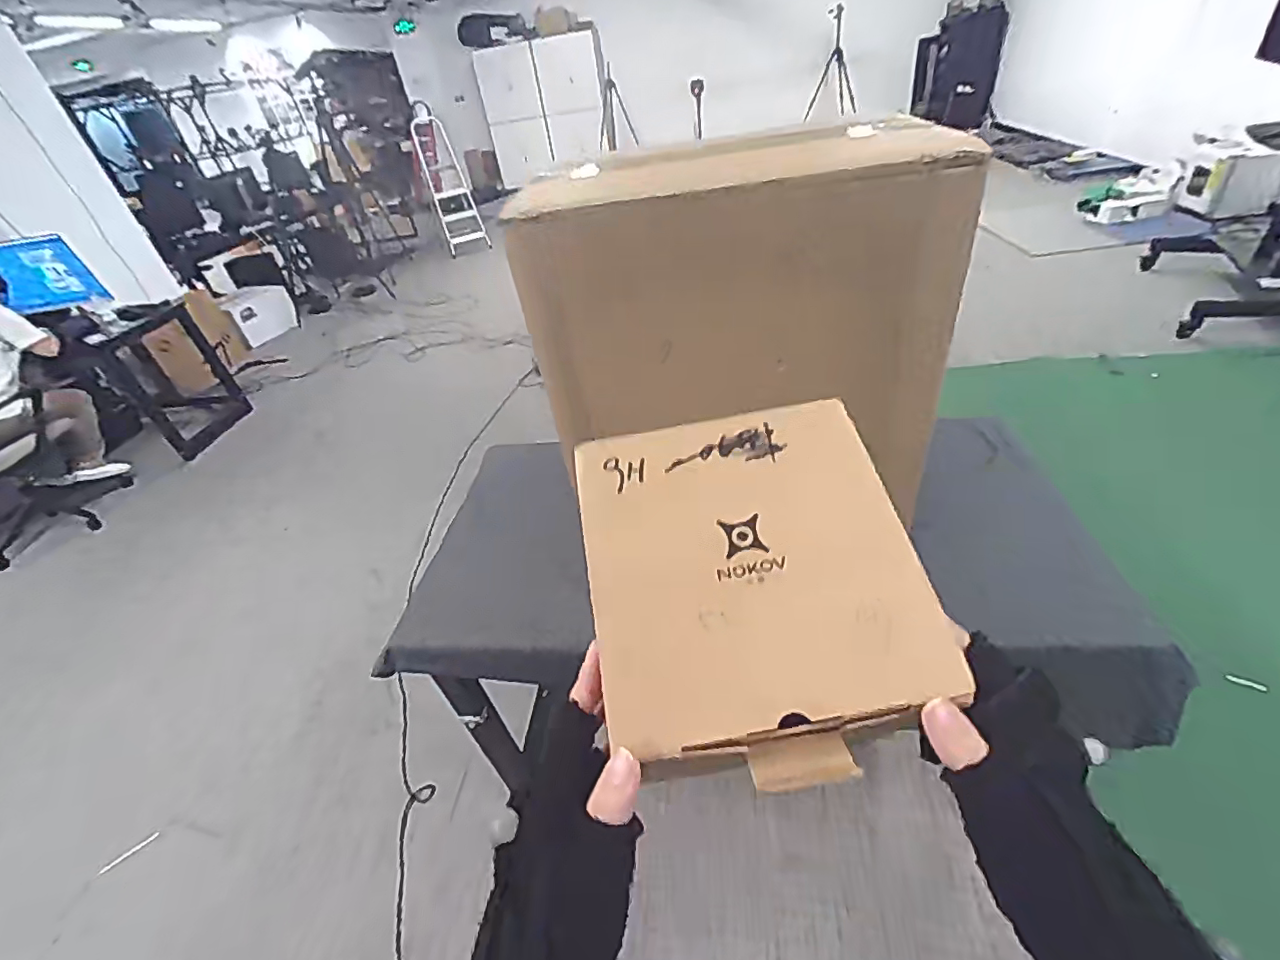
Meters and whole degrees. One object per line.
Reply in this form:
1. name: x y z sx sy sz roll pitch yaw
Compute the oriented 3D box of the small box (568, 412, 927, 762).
1. small box: 0.057 0.085 0.375 0.168 0.176 0.179 -13 59 -1
